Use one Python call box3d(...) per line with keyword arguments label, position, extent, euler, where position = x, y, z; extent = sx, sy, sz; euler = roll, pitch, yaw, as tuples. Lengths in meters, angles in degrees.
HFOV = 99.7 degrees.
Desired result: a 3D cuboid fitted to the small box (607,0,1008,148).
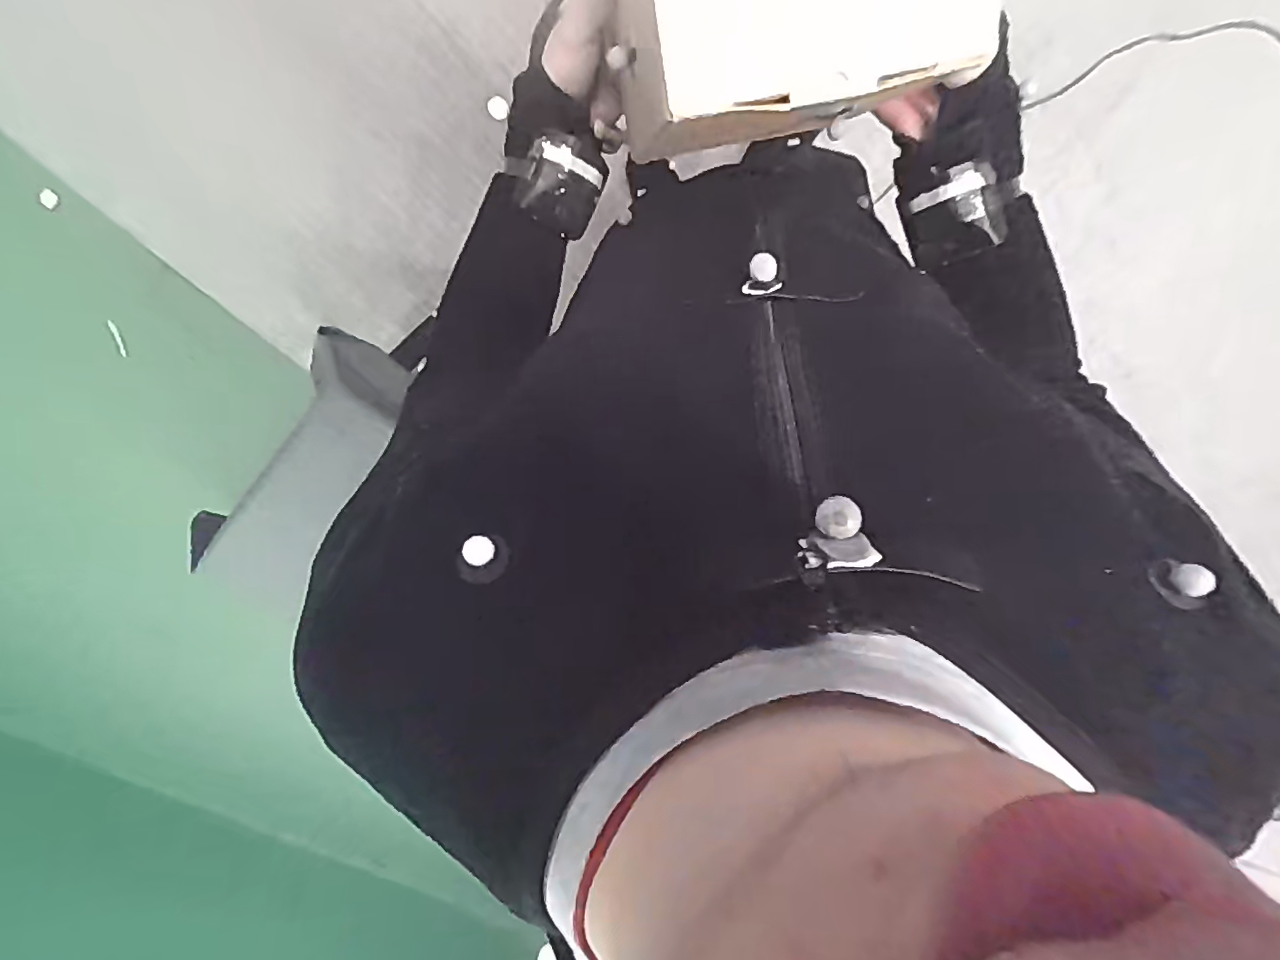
box3d(label="small box", position=(0.070, -0.297, 0.293), extent=(0.168, 0.176, 0.179), euler=(-13, 114, -3))
